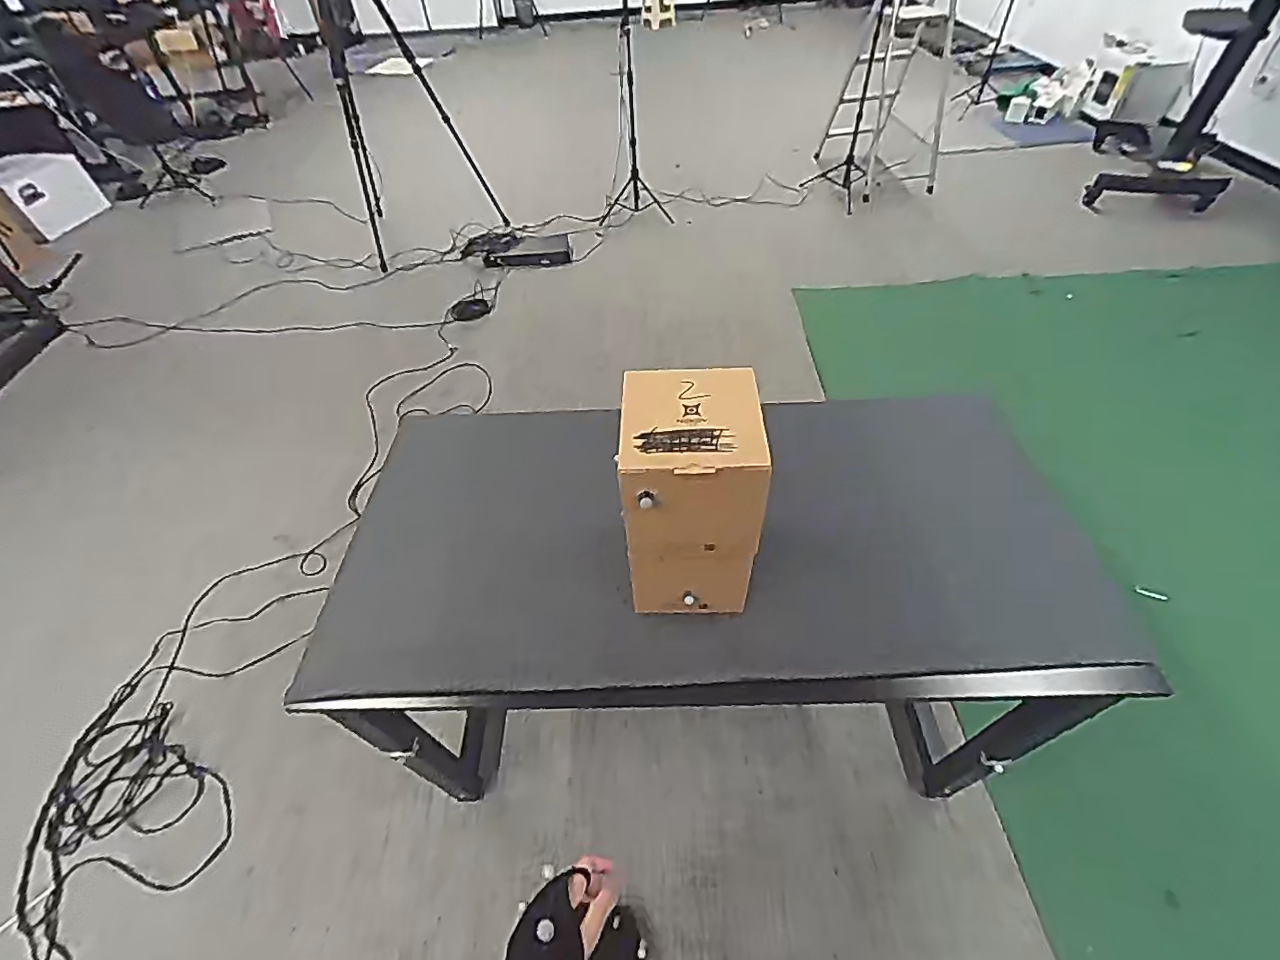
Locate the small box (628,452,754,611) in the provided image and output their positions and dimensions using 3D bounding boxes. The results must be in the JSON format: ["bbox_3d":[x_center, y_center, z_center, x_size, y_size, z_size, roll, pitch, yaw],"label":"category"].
[{"bbox_3d":[0.072,0.076,0.811,0.168,0.176,0.179,-1,48,3],"label":"small box"}]
